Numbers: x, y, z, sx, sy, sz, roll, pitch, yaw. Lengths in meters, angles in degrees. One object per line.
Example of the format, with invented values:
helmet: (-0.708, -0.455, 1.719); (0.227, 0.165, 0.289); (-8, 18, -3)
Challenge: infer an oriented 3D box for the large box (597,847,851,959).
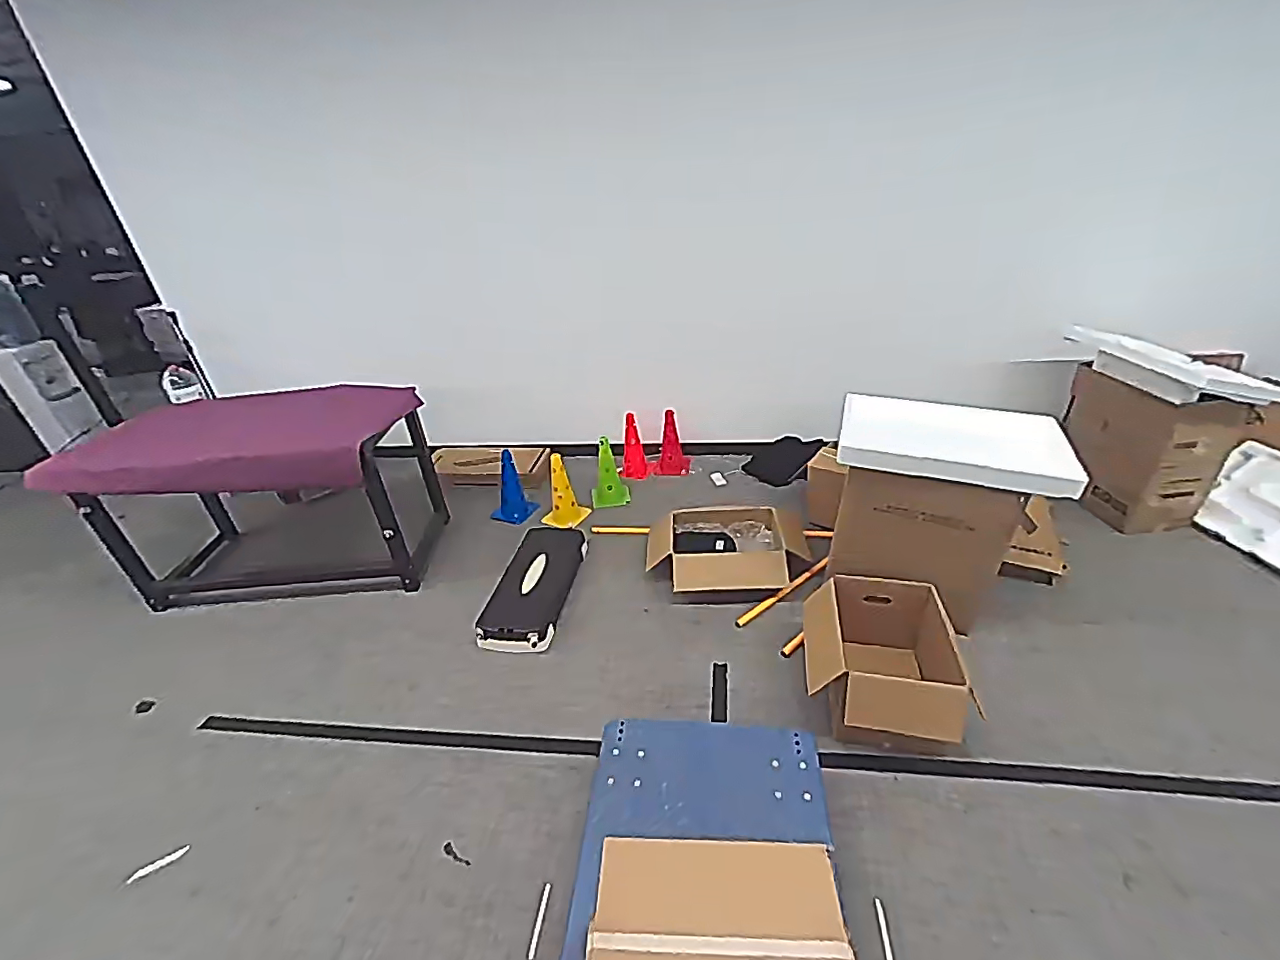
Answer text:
large box: (0.135, 0.874, 0.921); (0.408, 0.320, 0.320); (-1, 31, 4)
